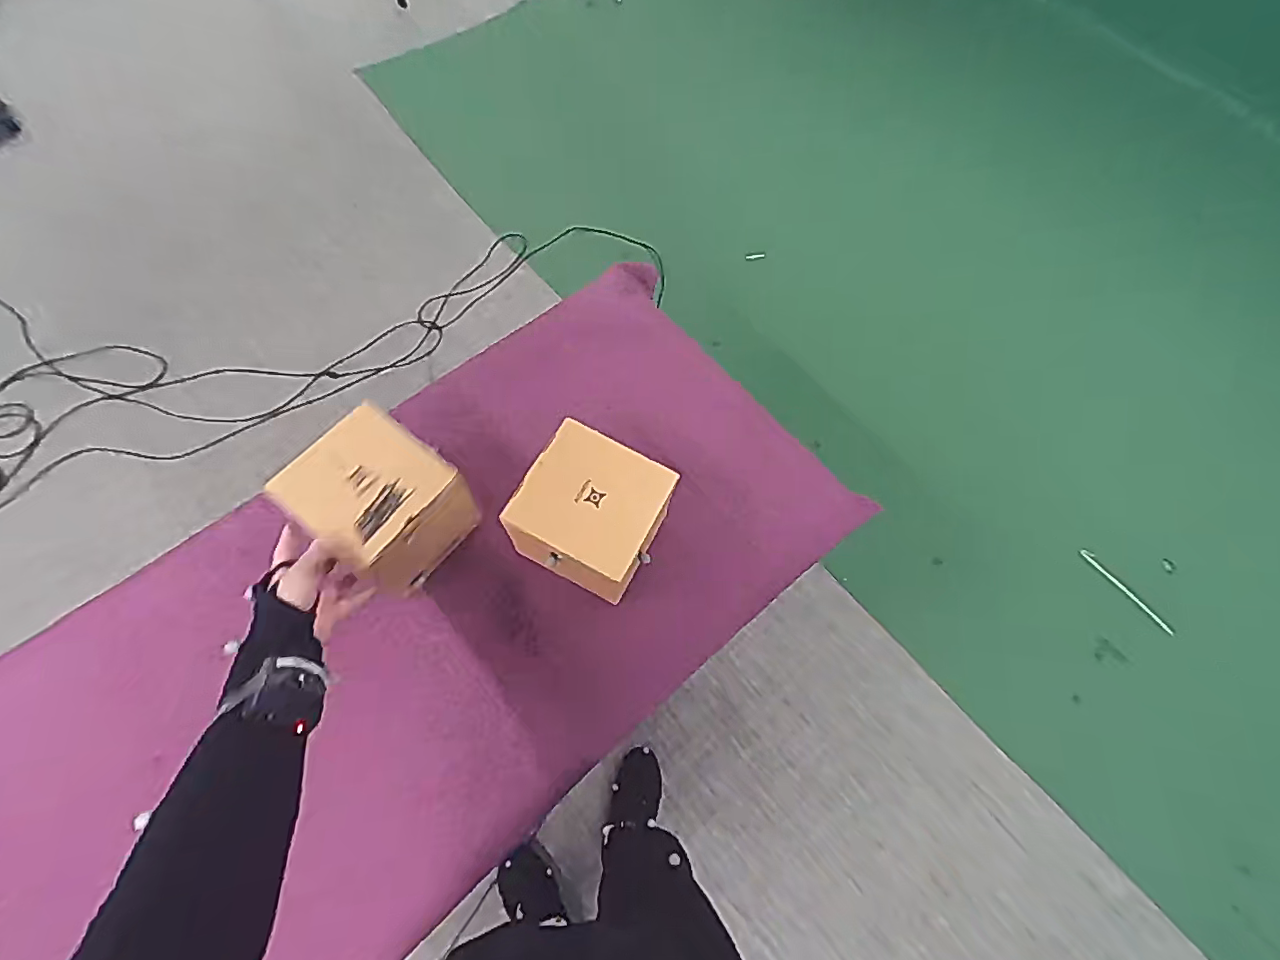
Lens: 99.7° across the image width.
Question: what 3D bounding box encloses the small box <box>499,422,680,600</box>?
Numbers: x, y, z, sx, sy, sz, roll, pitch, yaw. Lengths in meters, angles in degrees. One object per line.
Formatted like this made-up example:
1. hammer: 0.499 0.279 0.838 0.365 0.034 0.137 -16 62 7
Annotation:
1. small box: -0.065 0.054 0.758 0.179 0.176 0.168 28 69 8
